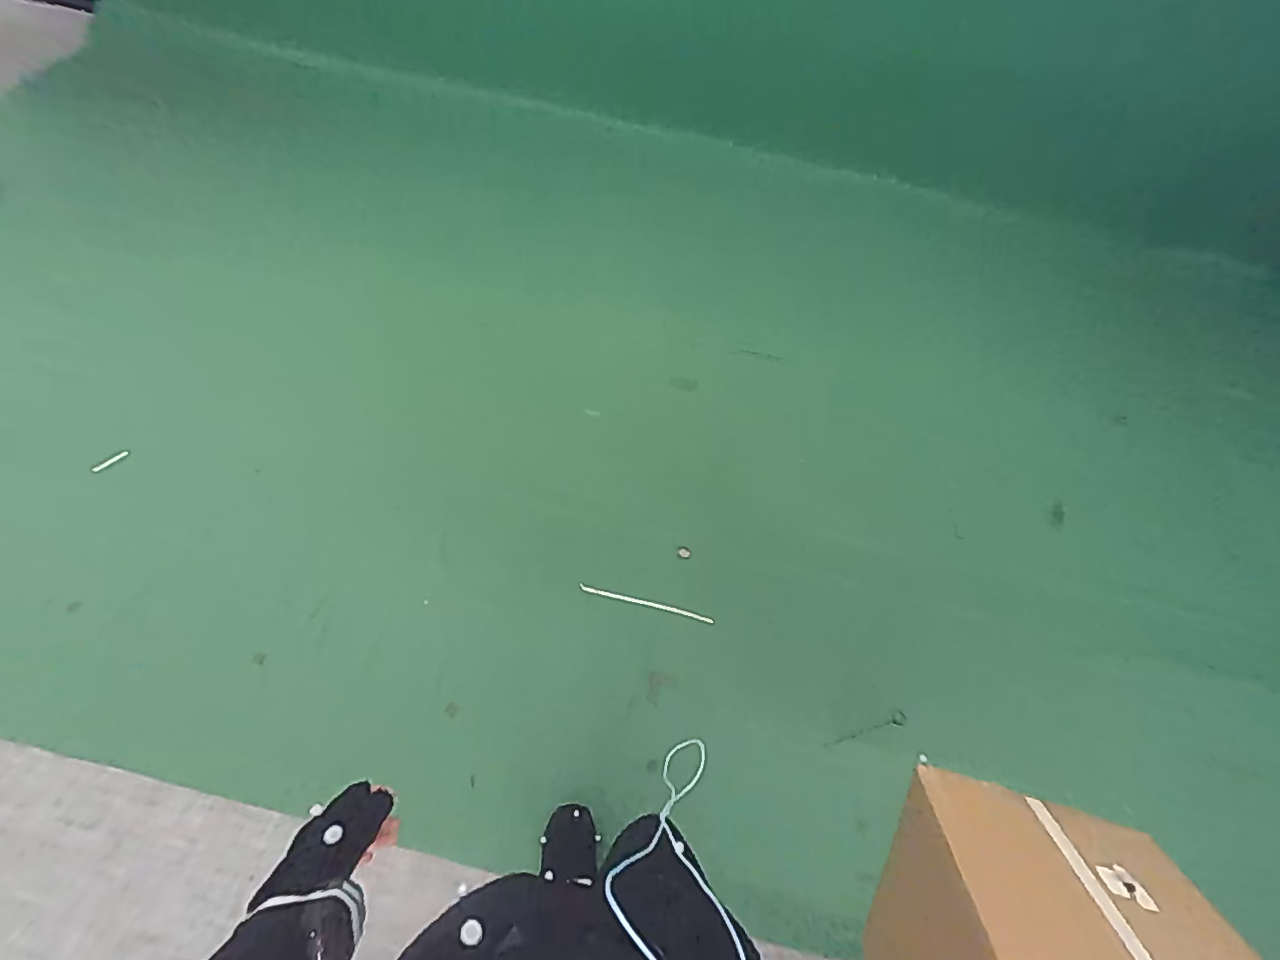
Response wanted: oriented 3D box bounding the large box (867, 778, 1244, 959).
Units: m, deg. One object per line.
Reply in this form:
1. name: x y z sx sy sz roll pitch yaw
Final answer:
1. large box: 0.486 0.644 0.614 0.320 0.408 0.320 14 98 11
